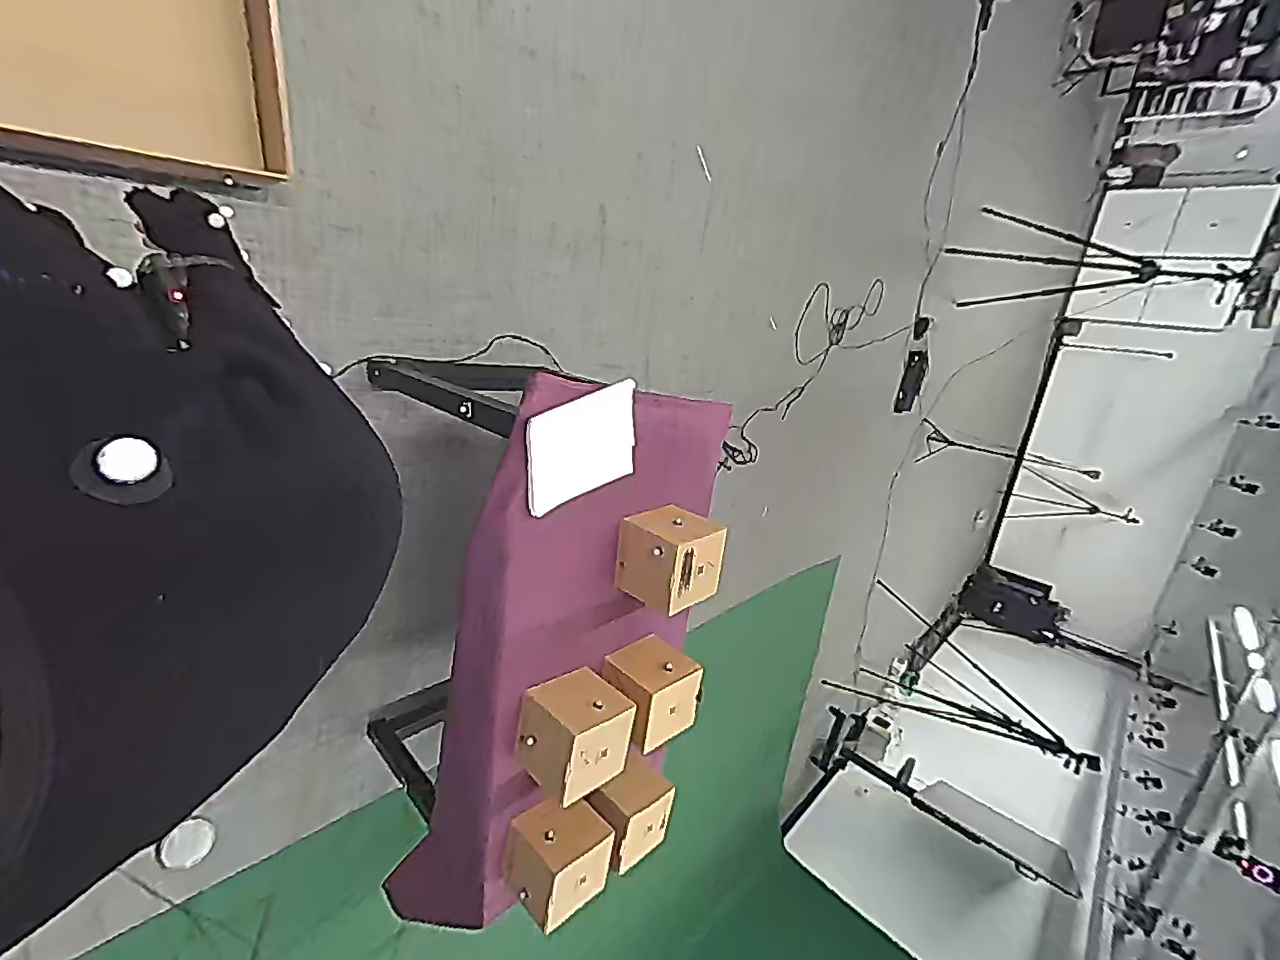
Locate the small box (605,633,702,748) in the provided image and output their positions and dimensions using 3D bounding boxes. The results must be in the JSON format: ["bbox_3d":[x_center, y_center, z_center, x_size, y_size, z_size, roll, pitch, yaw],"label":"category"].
[{"bbox_3d":[0.023,0.500,1.312,0.179,0.176,0.168,-11,114,-46],"label":"small box"}]

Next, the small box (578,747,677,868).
[{"bbox_3d":[-0.036,0.827,1.387,0.179,0.176,0.168,0,107,-47],"label":"small box"}]

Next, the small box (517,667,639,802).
[{"bbox_3d":[-0.132,0.523,1.145,0.179,0.176,0.168,-3,108,-48],"label":"small box"}]
